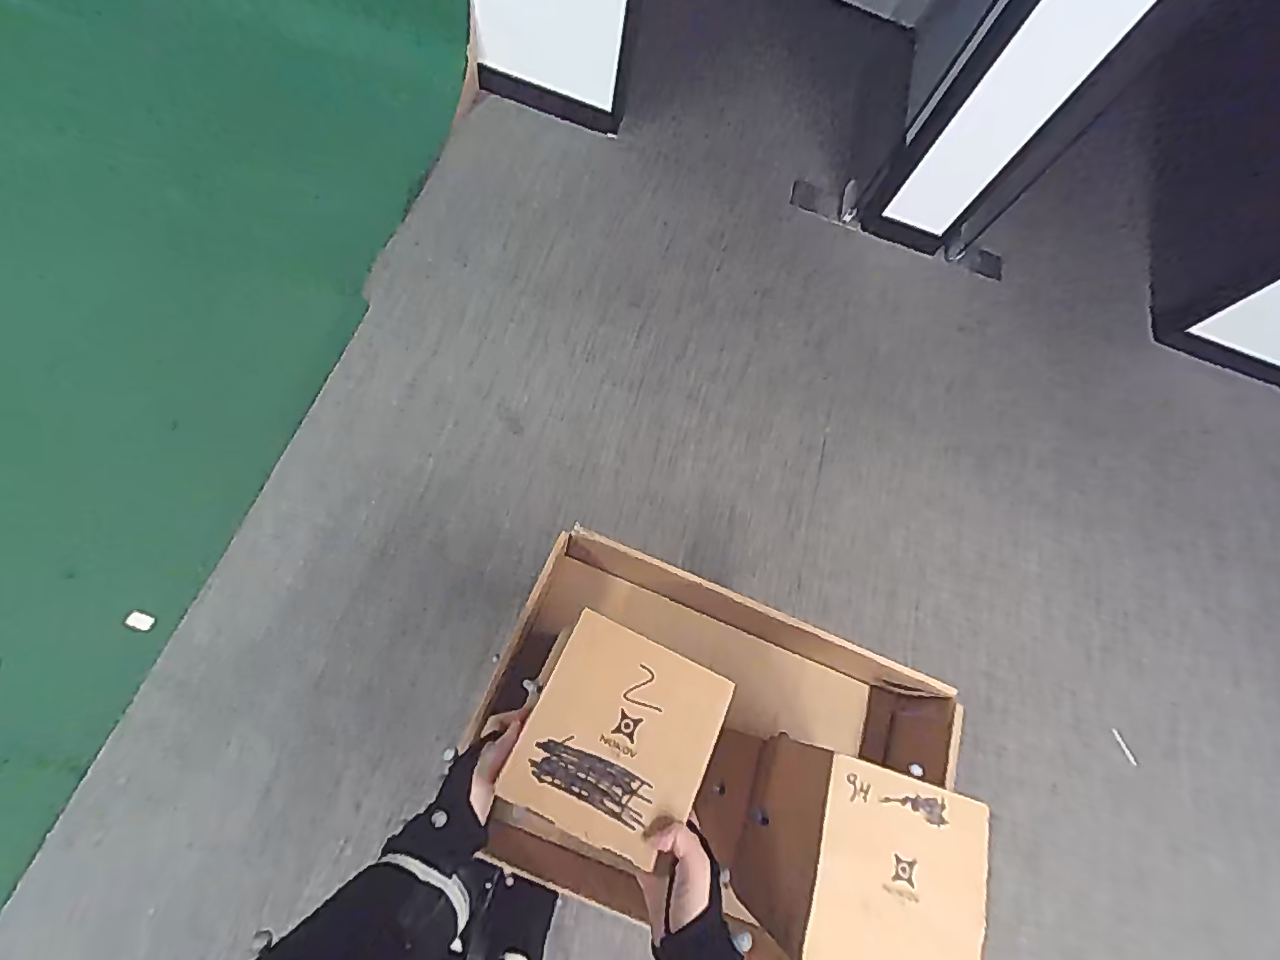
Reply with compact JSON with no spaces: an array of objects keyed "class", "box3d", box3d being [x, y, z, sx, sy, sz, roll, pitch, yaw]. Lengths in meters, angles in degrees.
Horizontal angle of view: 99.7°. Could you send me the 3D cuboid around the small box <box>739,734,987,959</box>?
[{"class":"small box","box3d":[0.219,0.390,0.566,0.168,0.176,0.179,22,69,-3]}]
